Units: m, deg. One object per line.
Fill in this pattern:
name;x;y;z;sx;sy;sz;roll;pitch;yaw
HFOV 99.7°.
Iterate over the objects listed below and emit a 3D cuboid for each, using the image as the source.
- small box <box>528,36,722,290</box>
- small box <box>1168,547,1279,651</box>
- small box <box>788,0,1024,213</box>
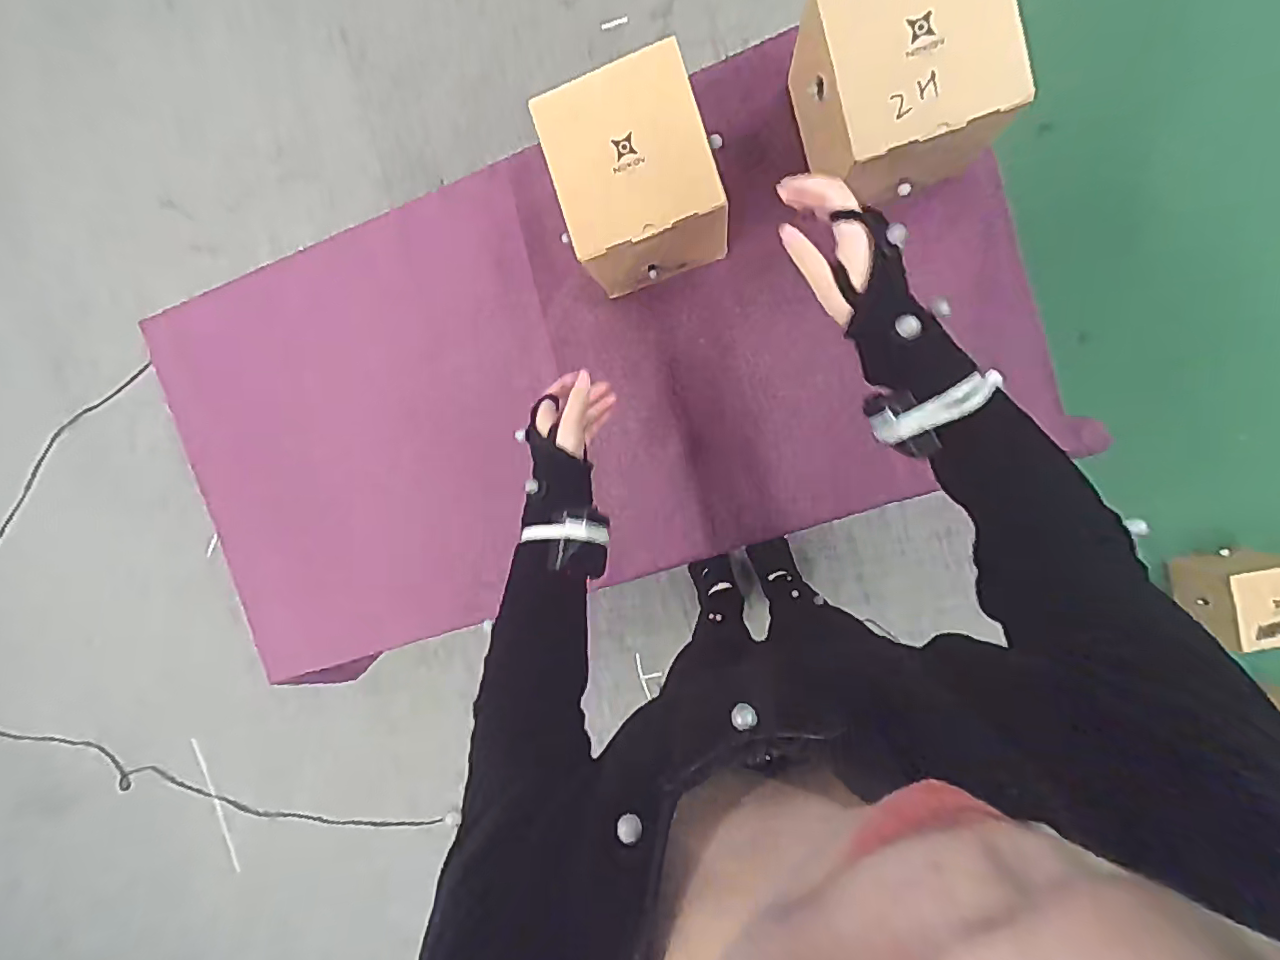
small box;-0.007;-0.350;0.637;0.168;0.176;0.179;-17;94;10
small box;1.364;0.264;1.227;0.168;0.176;0.179;-12;92;9
small box;0.266;-0.425;0.583;0.168;0.176;0.179;-15;96;10
